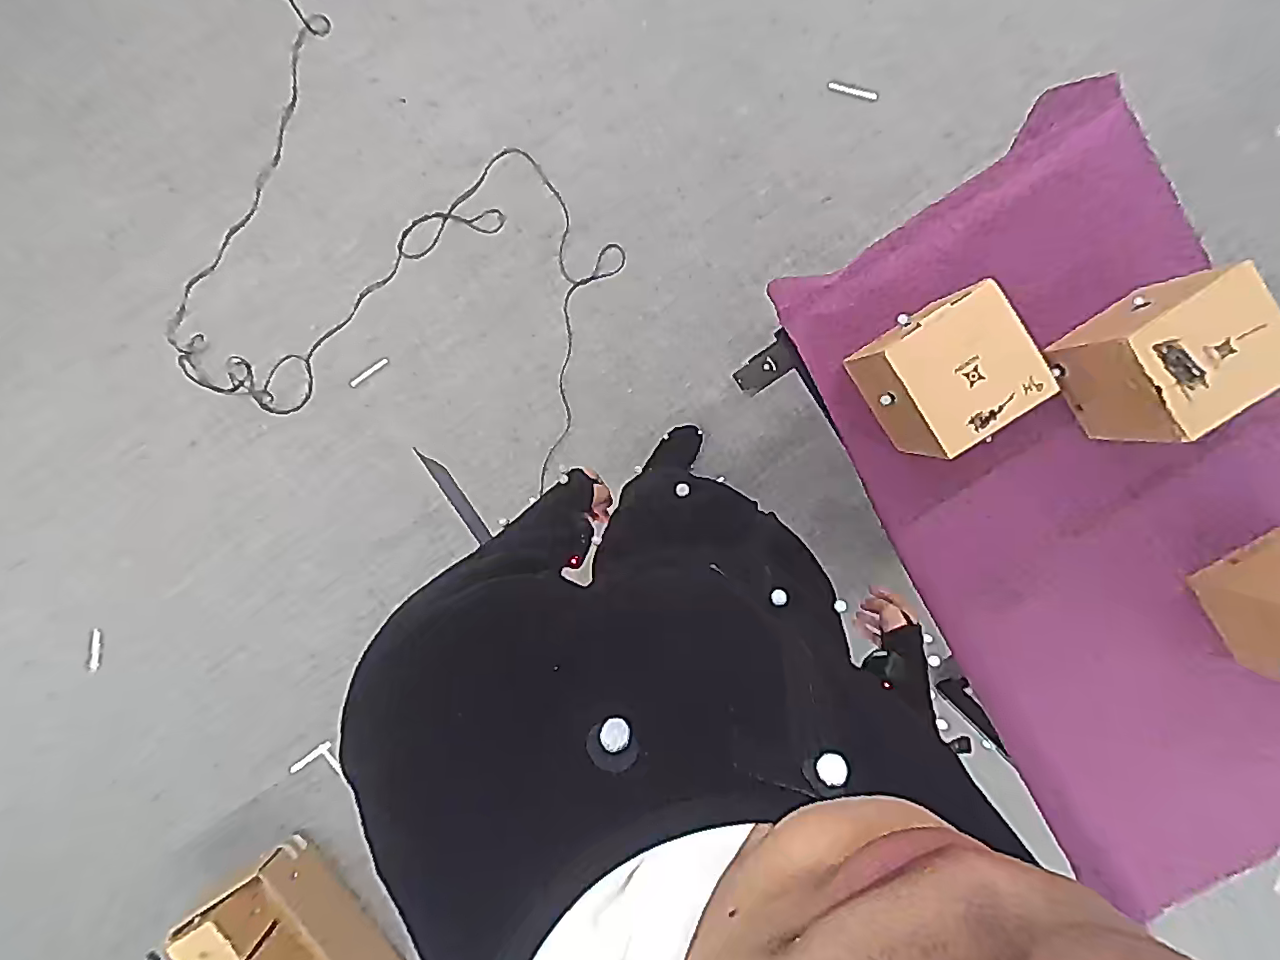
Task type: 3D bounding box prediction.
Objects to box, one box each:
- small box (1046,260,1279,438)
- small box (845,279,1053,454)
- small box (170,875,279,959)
[{"bbox_3d":[0.735,-0.174,0.775,0.179,0.176,0.168,-34,94,5],"label":"small box"},{"bbox_3d":[0.431,-0.154,0.788,0.168,0.176,0.179,-33,93,6],"label":"small box"},{"bbox_3d":[-1.311,1.423,1.720,0.179,0.176,0.168,-34,95,3],"label":"small box"}]
